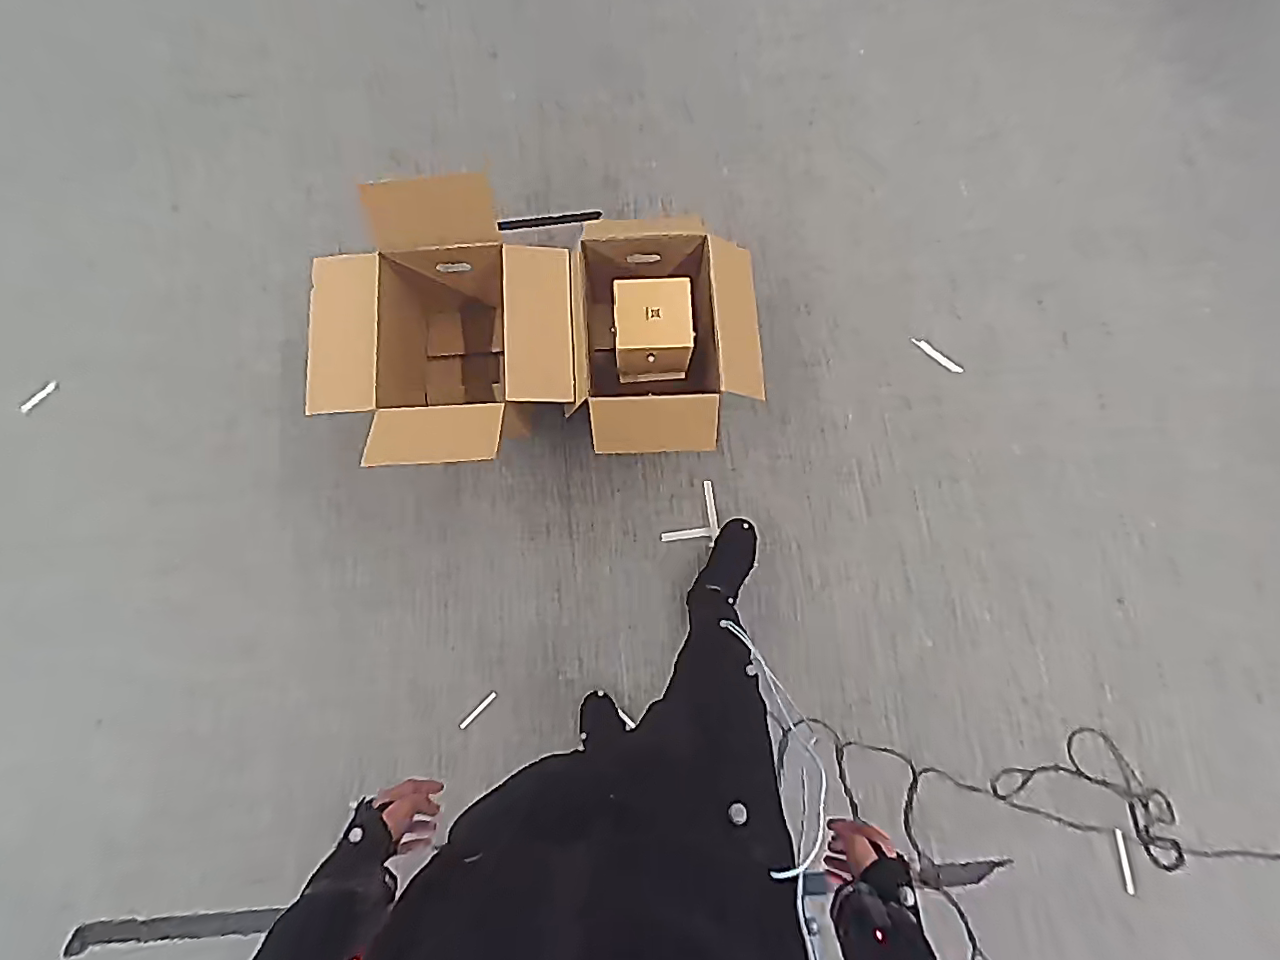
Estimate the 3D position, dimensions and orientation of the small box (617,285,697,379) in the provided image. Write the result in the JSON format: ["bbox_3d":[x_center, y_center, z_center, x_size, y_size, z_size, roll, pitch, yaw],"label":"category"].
[{"bbox_3d":[0.037,-0.348,1.289,0.179,0.176,0.168,-2,81,1],"label":"small box"}]
